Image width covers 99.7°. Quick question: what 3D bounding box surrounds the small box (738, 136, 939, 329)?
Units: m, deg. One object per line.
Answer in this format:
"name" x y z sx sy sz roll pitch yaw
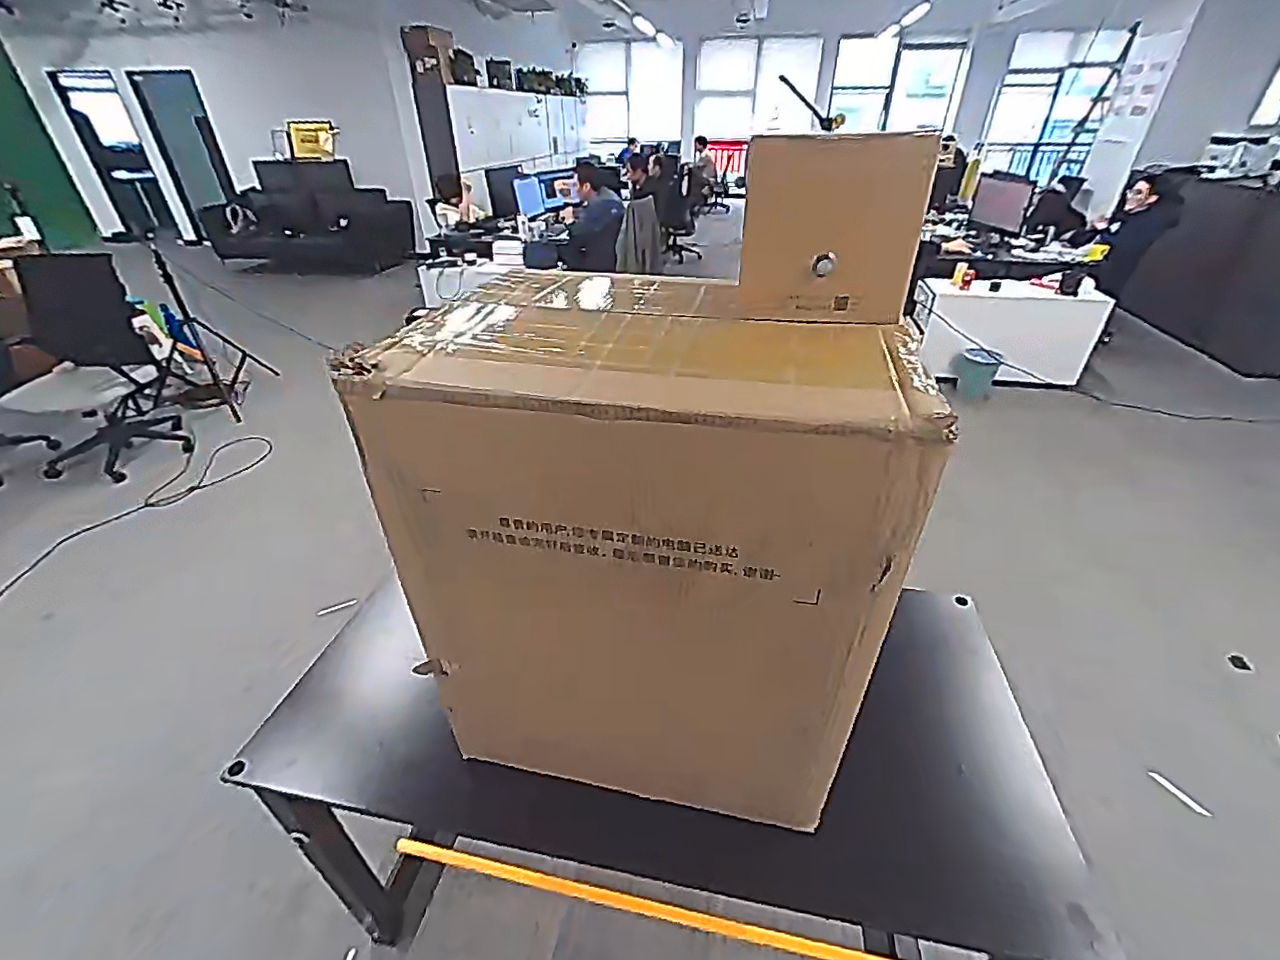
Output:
"small box" 0.198 -0.274 0.593 0.168 0.176 0.179 4 32 10
